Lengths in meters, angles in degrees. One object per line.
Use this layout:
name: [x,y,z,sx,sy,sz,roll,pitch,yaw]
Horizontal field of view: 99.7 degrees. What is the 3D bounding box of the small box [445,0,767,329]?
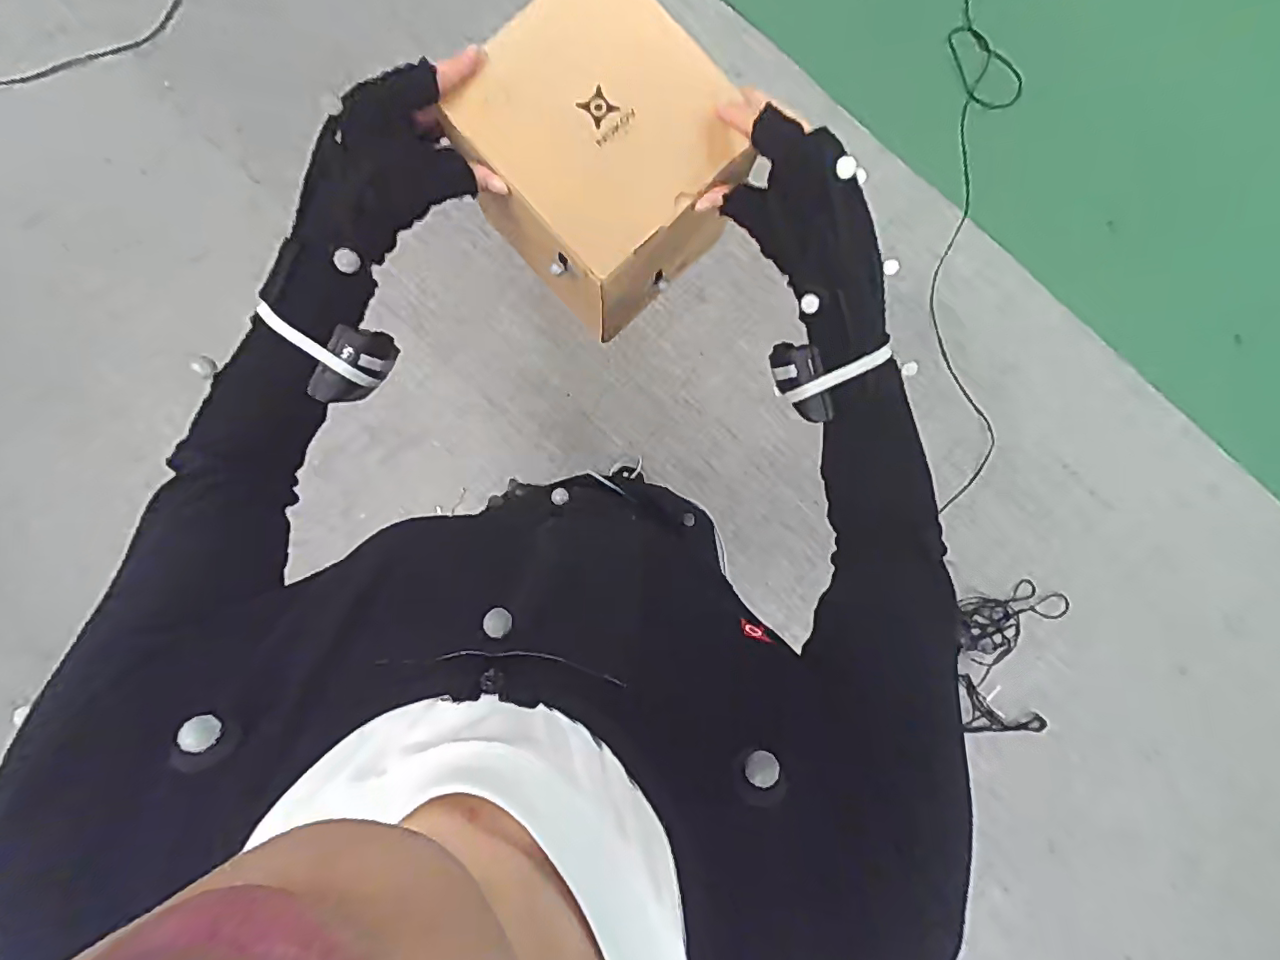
small box: [-0.029,-0.260,0.465,0.168,0.176,0.179,-43,93,-3]
